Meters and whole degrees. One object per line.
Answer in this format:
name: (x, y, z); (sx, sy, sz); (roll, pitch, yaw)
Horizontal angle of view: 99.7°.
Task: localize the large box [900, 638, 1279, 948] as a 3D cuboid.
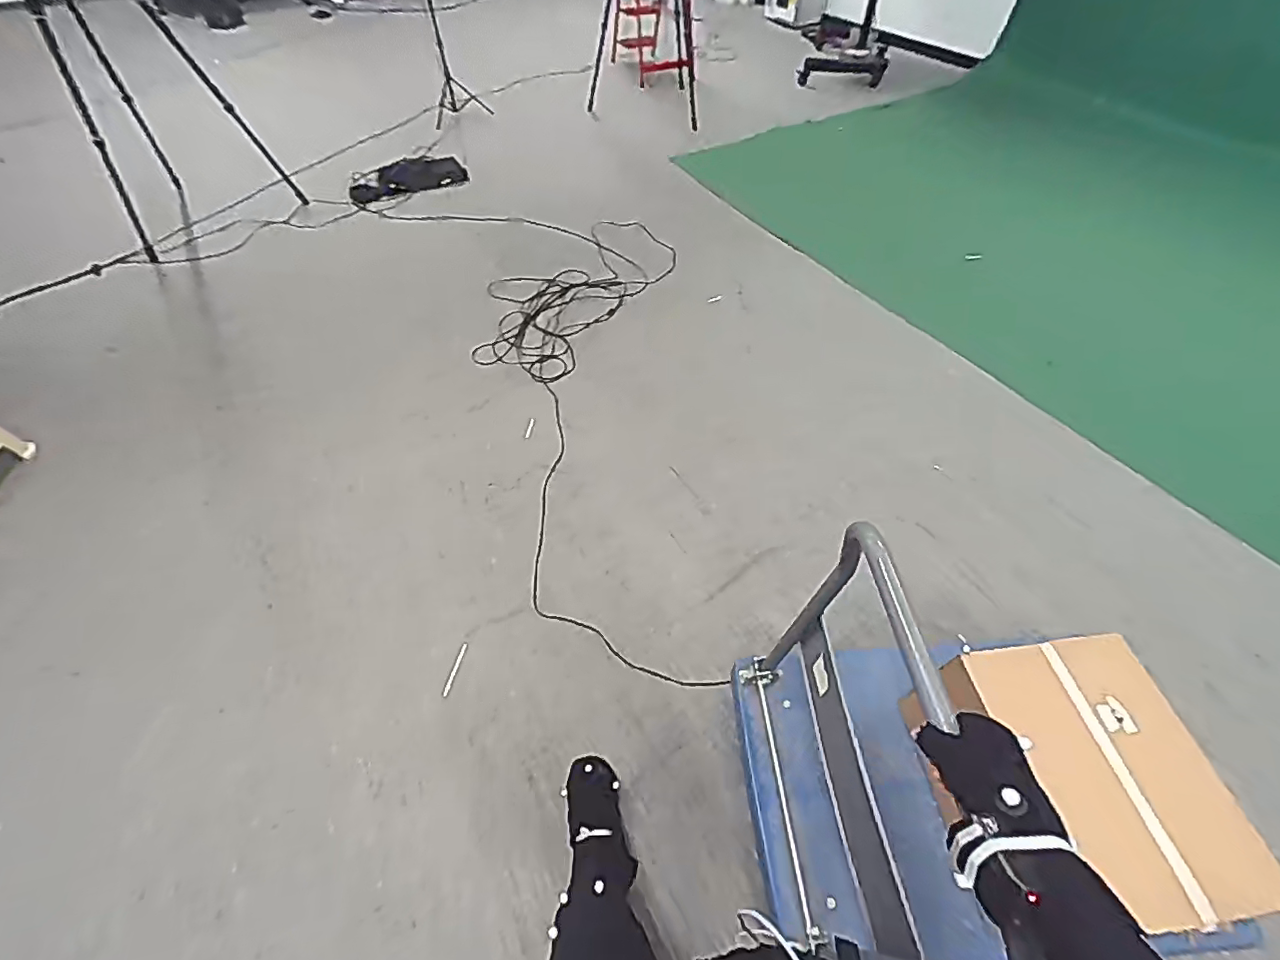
large box: (0.746, 0.553, 0.975); (0.320, 0.320, 0.408); (-6, 51, -5)
